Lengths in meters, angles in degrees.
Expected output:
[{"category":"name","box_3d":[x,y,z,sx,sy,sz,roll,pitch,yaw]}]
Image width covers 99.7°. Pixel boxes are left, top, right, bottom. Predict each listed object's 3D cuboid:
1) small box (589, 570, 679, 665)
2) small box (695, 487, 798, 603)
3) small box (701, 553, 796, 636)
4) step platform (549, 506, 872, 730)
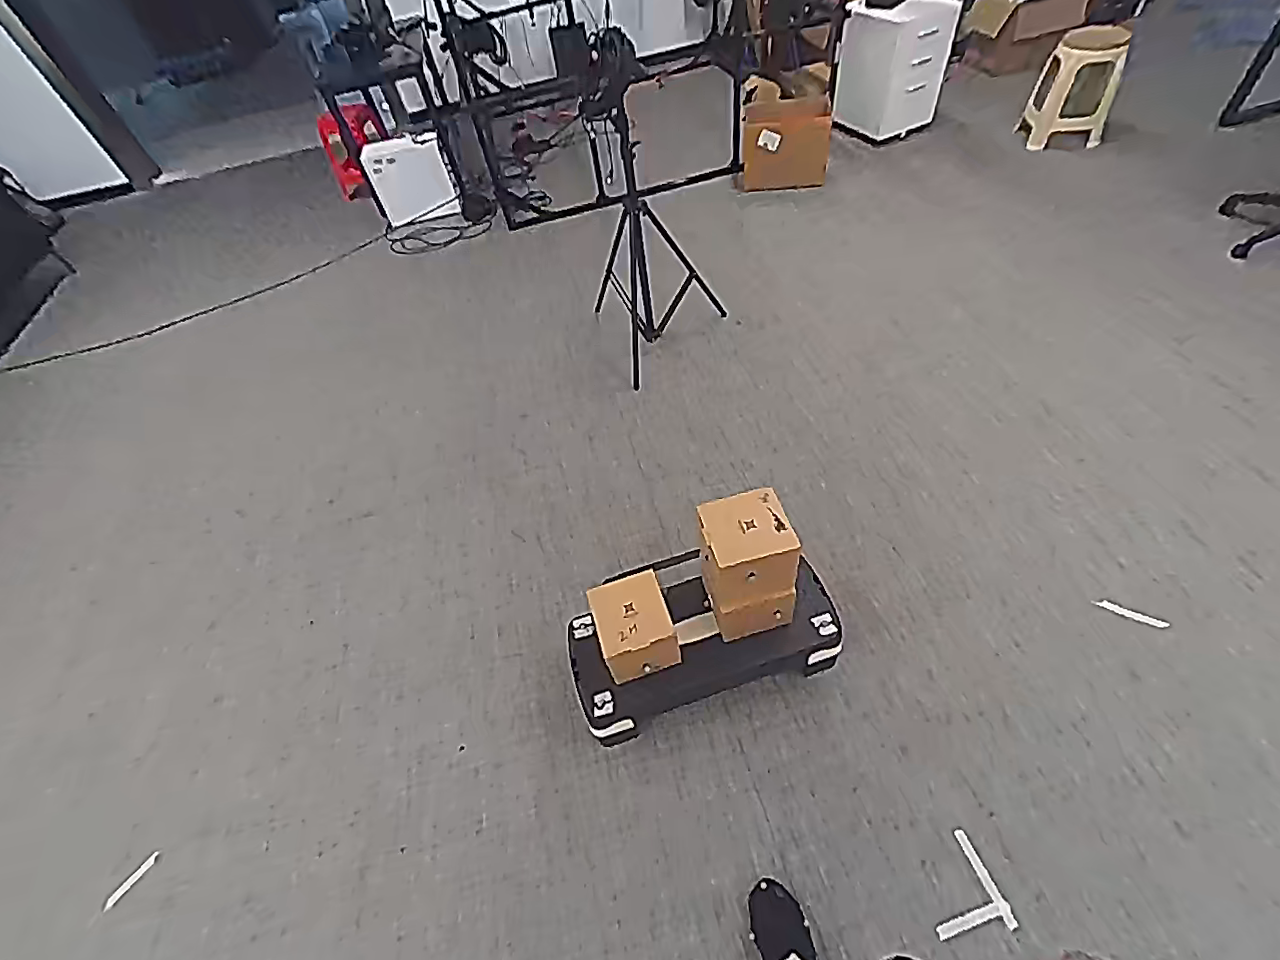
[{"category":"small box","box_3d":[-0.013,0.346,1.273,0.168,0.176,0.179,-18,51,-5]},{"category":"small box","box_3d":[0.230,0.148,1.183,0.179,0.176,0.168,-15,51,-2]},{"category":"small box","box_3d":[0.254,0.262,1.298,0.179,0.176,0.168,-16,51,-3]},{"category":"step platform","box_3d":[0.152,0.311,1.229,0.684,0.204,0.286,-17,50,-5]}]
